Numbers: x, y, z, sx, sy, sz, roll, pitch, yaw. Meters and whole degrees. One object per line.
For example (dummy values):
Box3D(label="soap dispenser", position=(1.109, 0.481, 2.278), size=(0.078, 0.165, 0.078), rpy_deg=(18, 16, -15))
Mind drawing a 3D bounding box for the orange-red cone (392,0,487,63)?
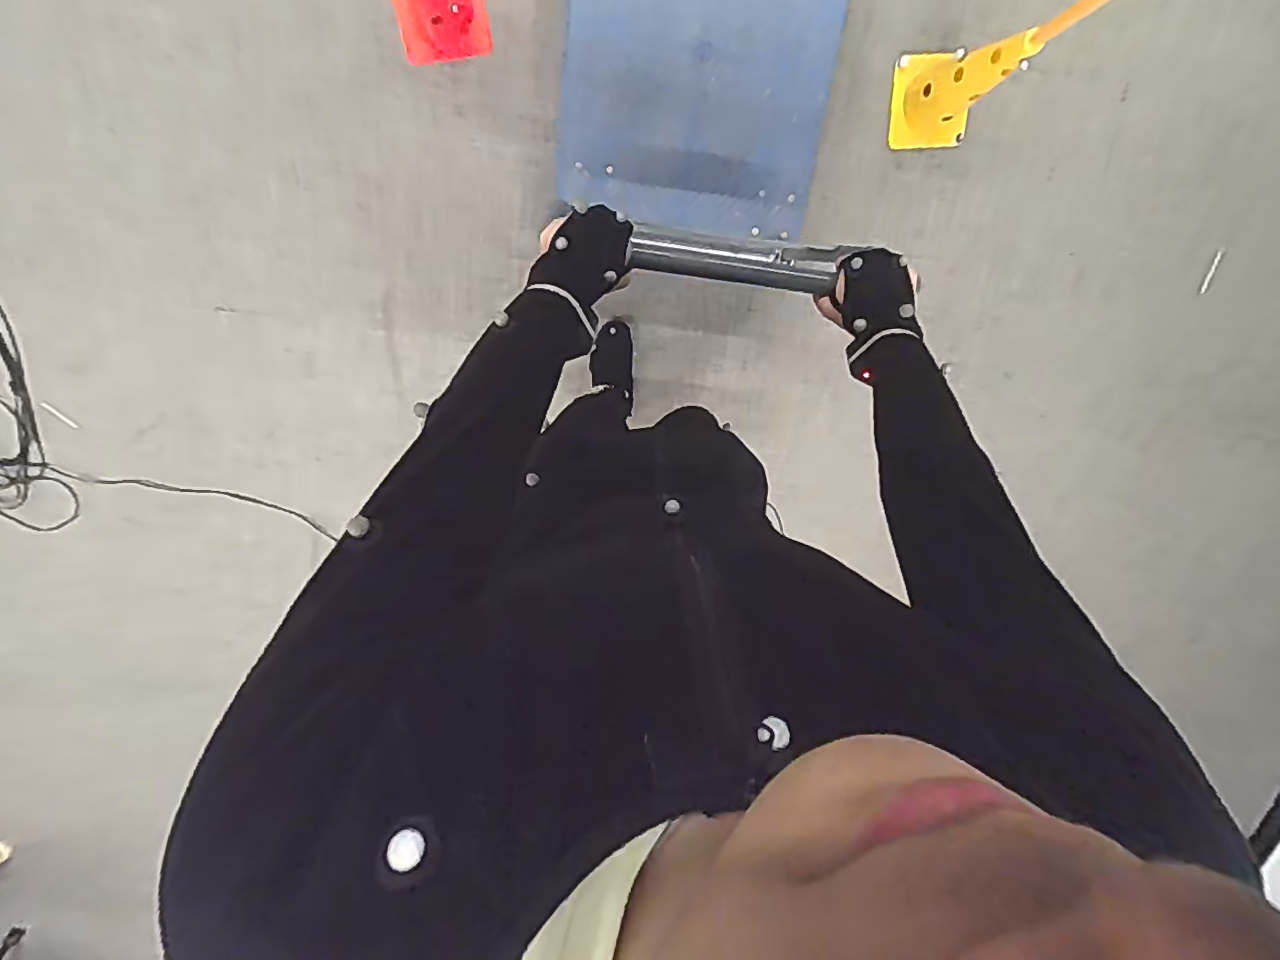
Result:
Box3D(label="orange-red cone", position=(-0.441, -0.998, 1.047), size=(0.199, 0.360, 0.198), rpy_deg=(-7, 110, -1))
